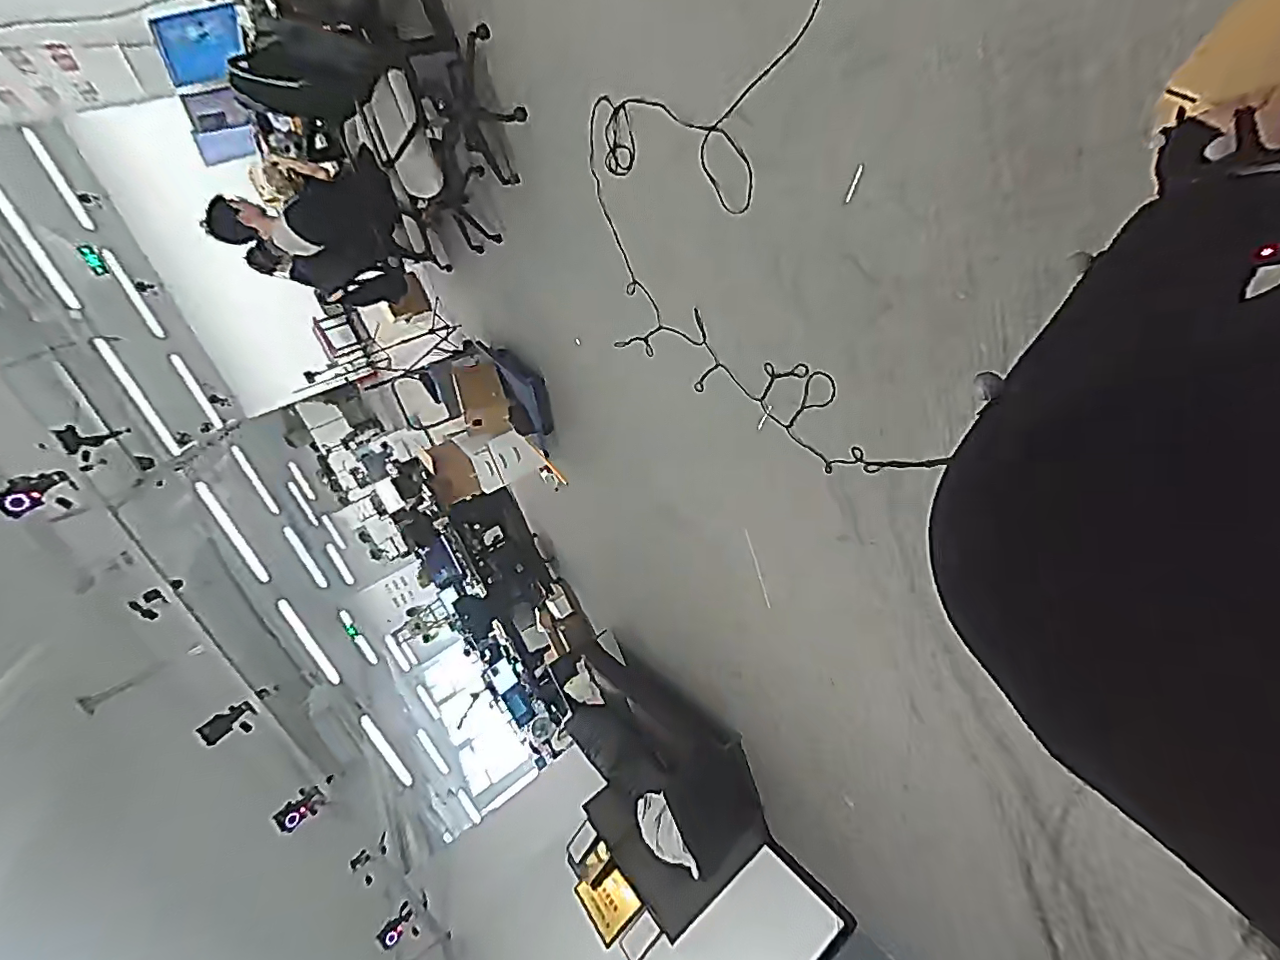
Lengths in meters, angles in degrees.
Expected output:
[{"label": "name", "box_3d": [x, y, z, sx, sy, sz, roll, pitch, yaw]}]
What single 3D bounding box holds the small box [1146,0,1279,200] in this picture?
[{"label": "small box", "box_3d": [0.609, -0.372, 0.476, 0.168, 0.179, 0.176, 46, 125, 24]}]
